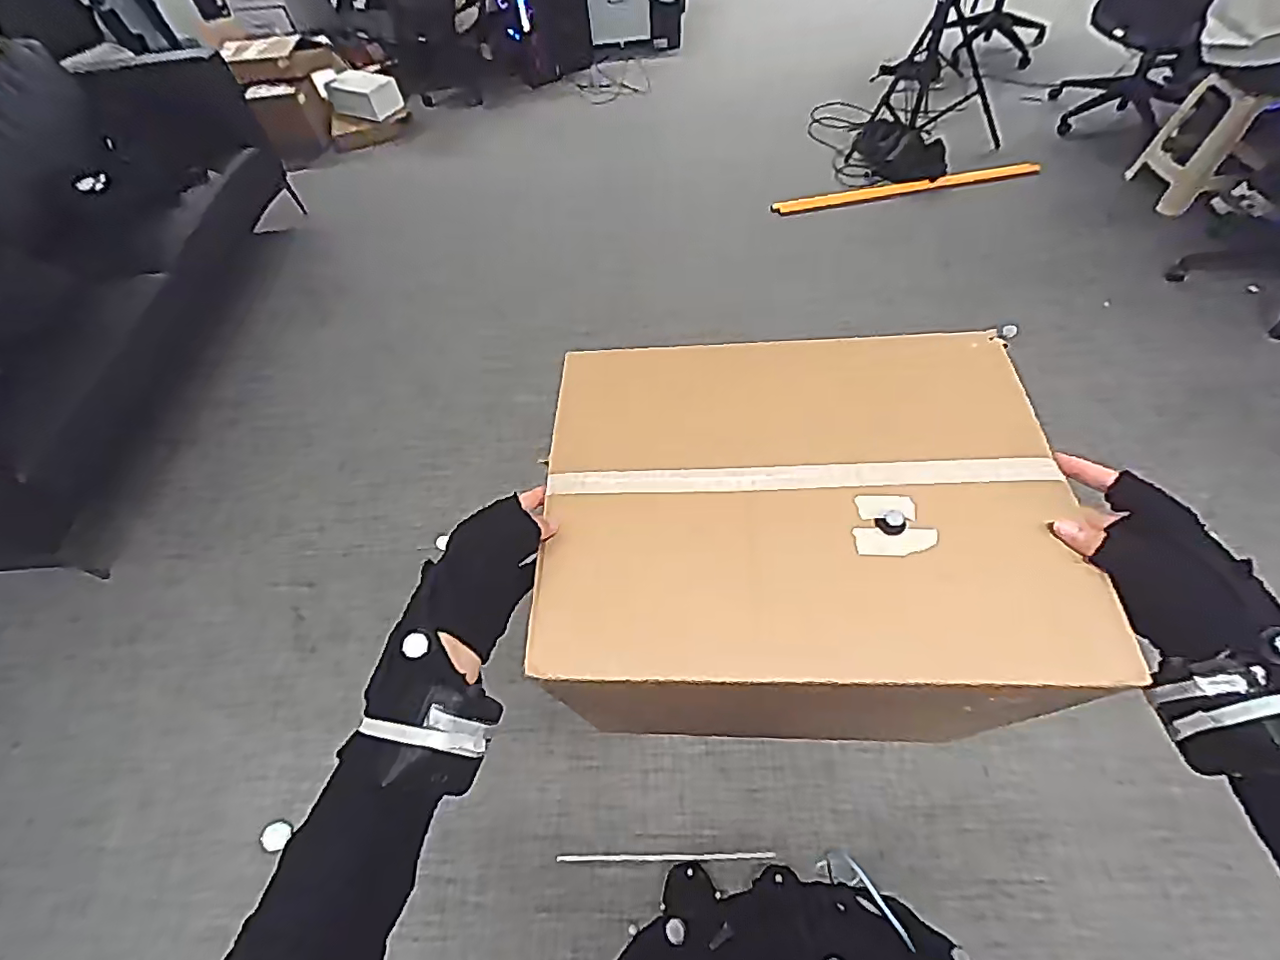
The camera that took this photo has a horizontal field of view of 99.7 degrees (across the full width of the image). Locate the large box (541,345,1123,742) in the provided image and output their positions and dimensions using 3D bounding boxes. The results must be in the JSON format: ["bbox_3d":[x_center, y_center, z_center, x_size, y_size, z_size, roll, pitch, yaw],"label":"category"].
[{"bbox_3d":[0.140,0.089,0.577,0.408,0.320,0.320,-2,58,6],"label":"large box"}]
